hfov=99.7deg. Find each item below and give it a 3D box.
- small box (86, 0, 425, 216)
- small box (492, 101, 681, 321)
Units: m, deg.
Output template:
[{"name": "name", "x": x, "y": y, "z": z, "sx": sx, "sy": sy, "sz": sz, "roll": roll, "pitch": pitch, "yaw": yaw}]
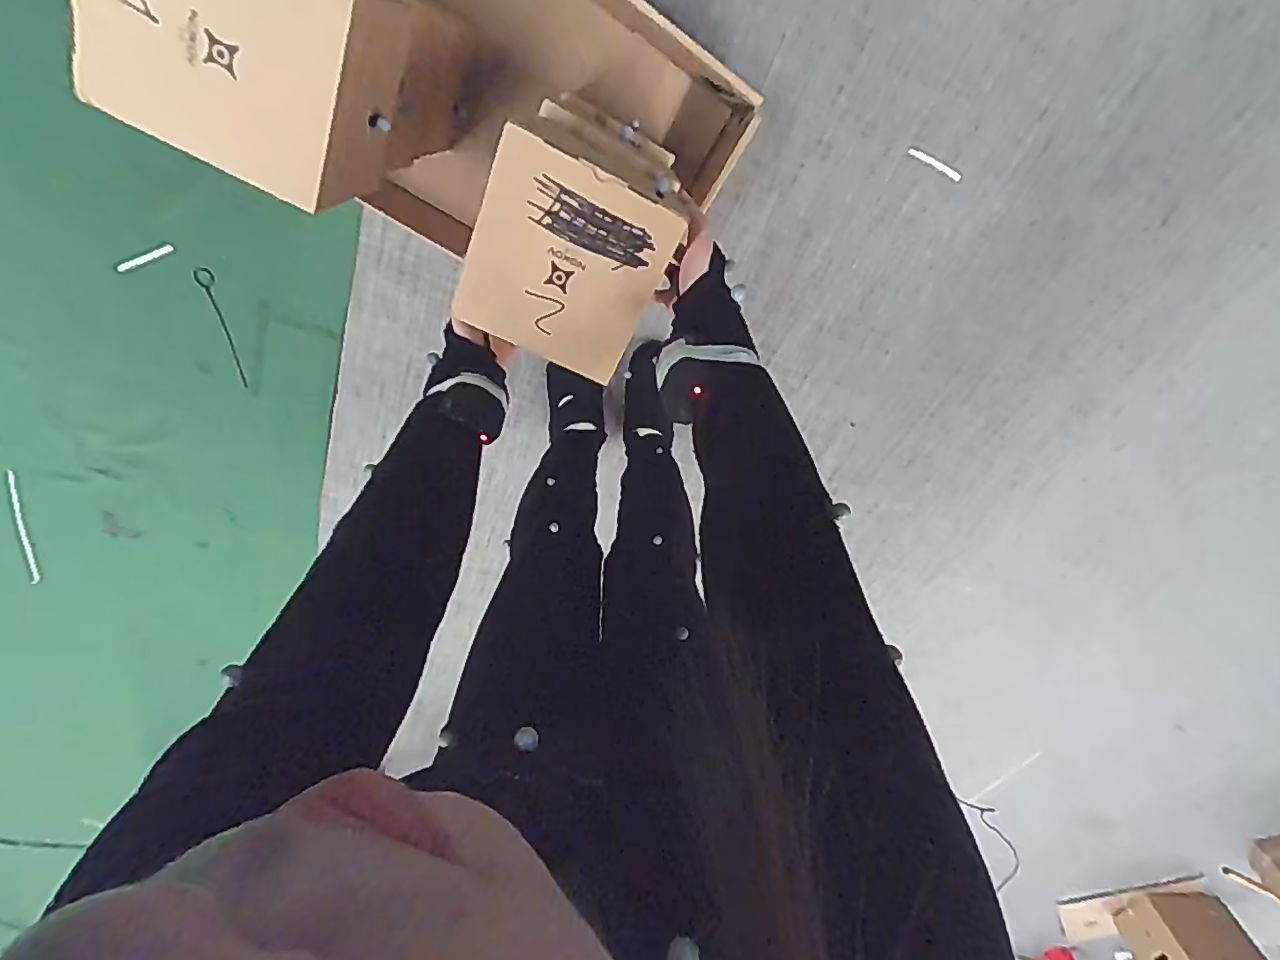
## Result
[{"name": "small box", "x": -0.309, "y": -0.364, "z": 0.463, "sx": 0.179, "sy": 0.176, "sz": 0.168, "roll": 24, "pitch": 121, "yaw": -18}, {"name": "small box", "x": -0.063, "y": -0.338, "z": 0.683, "sx": 0.168, "sy": 0.176, "sz": 0.179, "roll": 25, "pitch": 120, "yaw": -17}]
